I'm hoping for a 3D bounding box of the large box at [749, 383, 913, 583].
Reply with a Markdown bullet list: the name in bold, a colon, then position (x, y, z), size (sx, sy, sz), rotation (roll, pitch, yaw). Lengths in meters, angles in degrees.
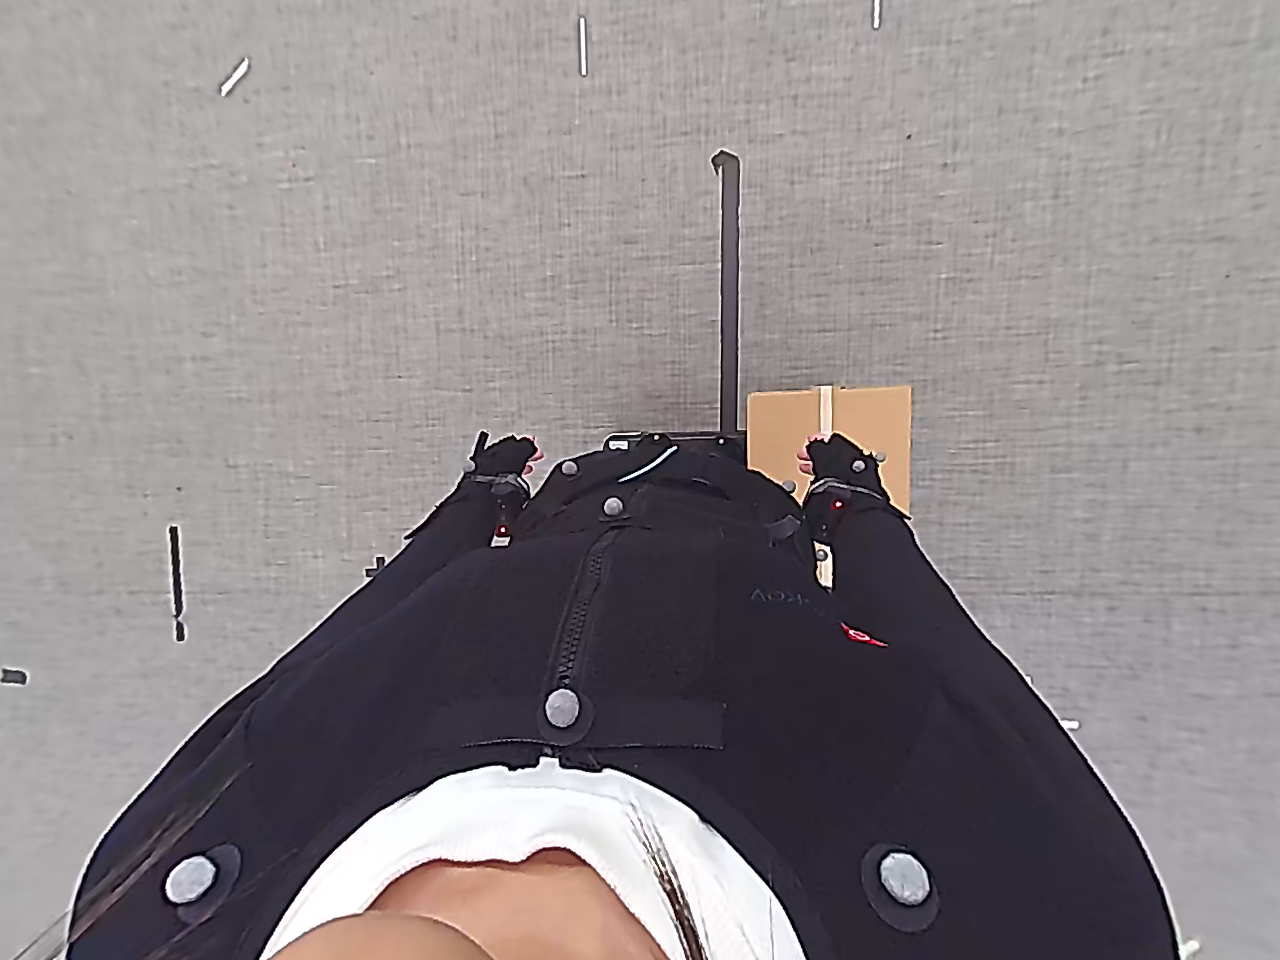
- **large box**: position (0.417, -0.004, 1.241), size (0.320, 0.320, 0.408), rotation (-1, 97, 14)
